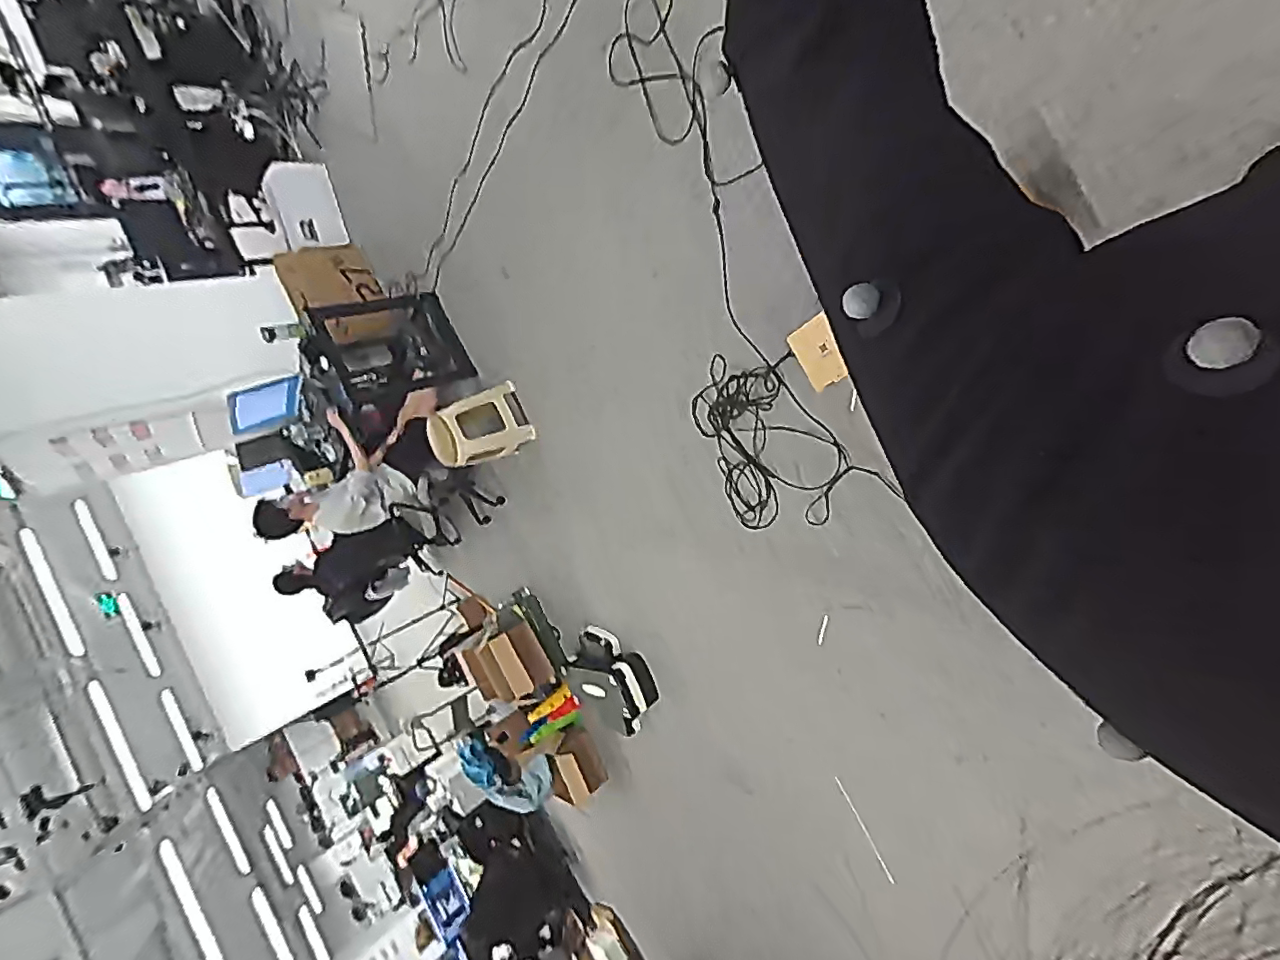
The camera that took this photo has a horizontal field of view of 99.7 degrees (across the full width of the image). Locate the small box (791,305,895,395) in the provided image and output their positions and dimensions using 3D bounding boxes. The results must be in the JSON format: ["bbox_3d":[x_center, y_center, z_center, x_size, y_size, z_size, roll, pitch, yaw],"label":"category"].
[{"bbox_3d":[0.555,-0.360,1.478,0.168,0.176,0.179,-34,83,53],"label":"small box"}]
